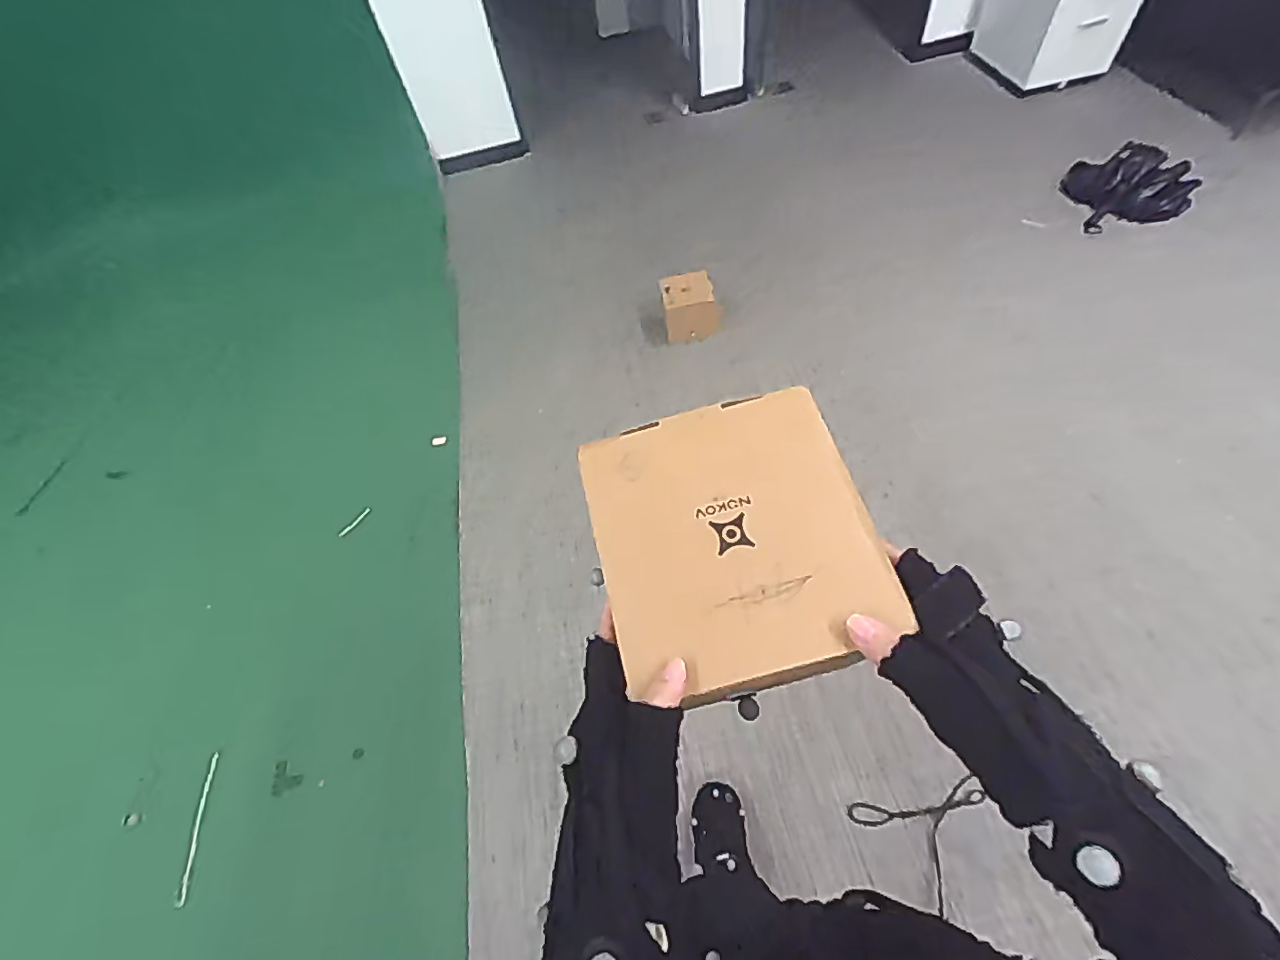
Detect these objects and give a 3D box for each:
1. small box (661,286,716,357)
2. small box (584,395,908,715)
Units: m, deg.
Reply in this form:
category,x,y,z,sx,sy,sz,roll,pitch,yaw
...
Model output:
category,x,y,z,sx,sy,sz,roll,pitch,yaw
small box,0.177,-0.576,1.979,0.179,0.176,0.168,-10,55,2
small box,0.064,0.067,0.415,0.168,0.176,0.179,-15,64,0
